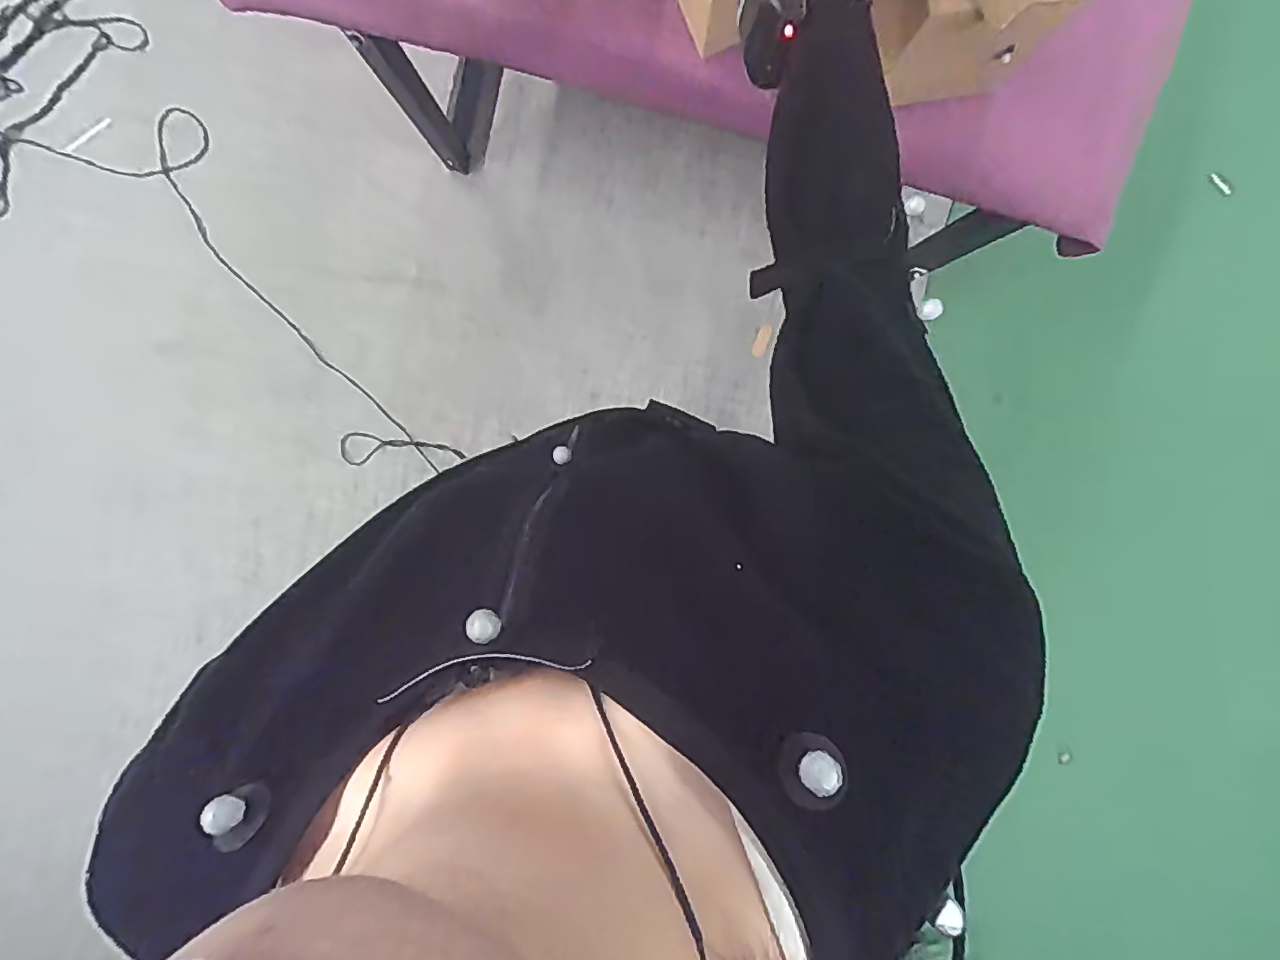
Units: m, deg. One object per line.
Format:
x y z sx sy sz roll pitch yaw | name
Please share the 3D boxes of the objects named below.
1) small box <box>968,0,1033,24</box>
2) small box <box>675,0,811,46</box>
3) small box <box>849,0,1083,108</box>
0.373 -0.573 0.472 0.168 0.176 0.179 -41 95 2 | small box
0.120 -0.652 0.620 0.168 0.176 0.179 -24 96 1 | small box
0.369 -0.577 0.636 0.179 0.176 0.168 -8 95 0 | small box
